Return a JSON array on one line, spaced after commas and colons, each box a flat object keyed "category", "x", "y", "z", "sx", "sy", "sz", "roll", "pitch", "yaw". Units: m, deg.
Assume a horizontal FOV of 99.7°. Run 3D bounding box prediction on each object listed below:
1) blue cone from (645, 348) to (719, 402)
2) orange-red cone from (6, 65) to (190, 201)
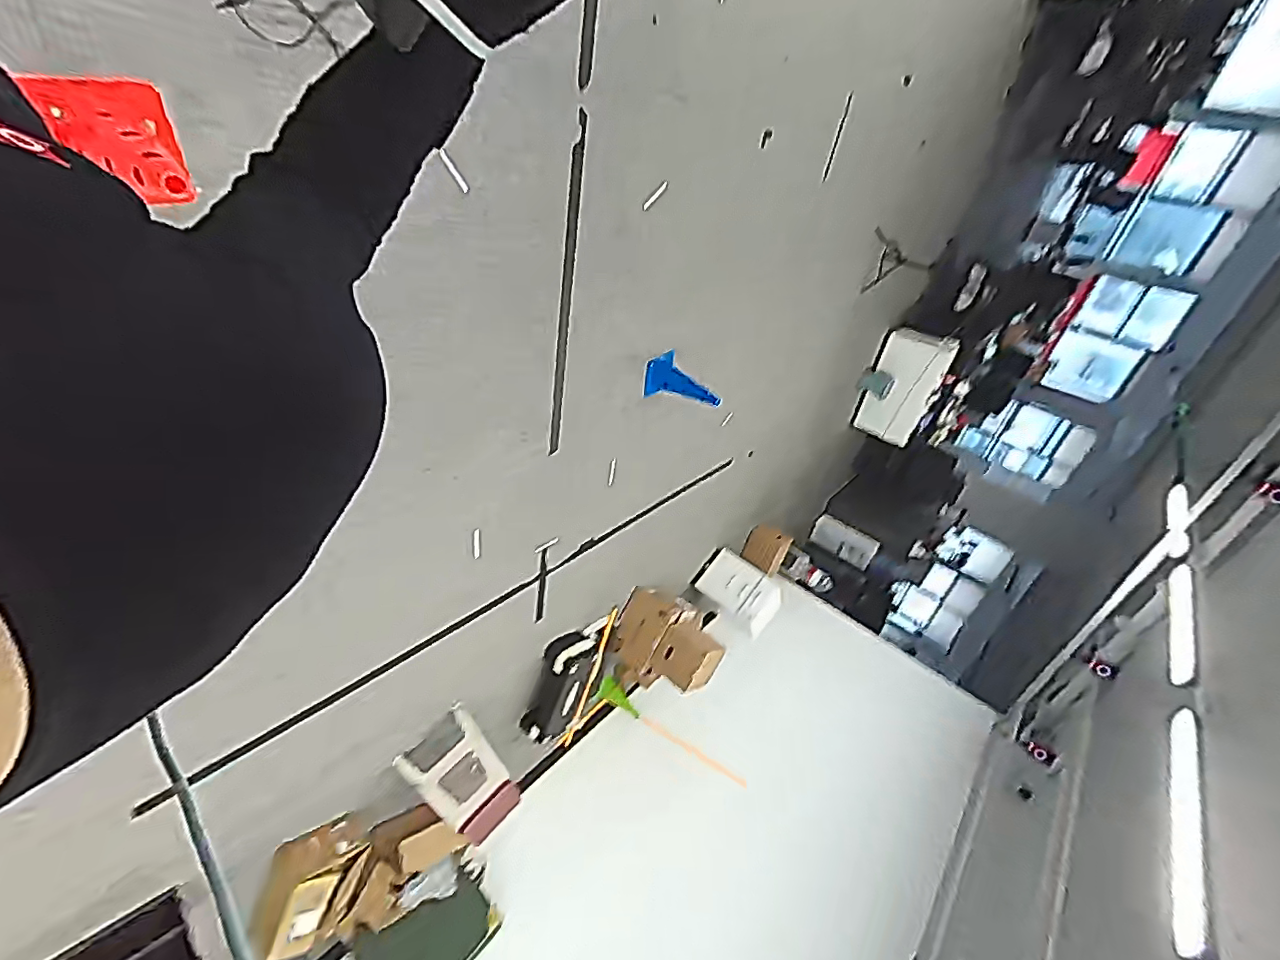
[{"category": "blue cone", "x": 0.217, "y": -0.460, "z": 2.538, "sx": 0.192, "sy": 0.380, "sz": 0.193, "roll": -31, "pitch": 142, "yaw": -38}, {"category": "orange-red cone", "x": -0.820, "y": -0.523, "z": 0.878, "sx": 0.198, "sy": 0.360, "sz": 0.199, "roll": -30, "pitch": 143, "yaw": -38}]
